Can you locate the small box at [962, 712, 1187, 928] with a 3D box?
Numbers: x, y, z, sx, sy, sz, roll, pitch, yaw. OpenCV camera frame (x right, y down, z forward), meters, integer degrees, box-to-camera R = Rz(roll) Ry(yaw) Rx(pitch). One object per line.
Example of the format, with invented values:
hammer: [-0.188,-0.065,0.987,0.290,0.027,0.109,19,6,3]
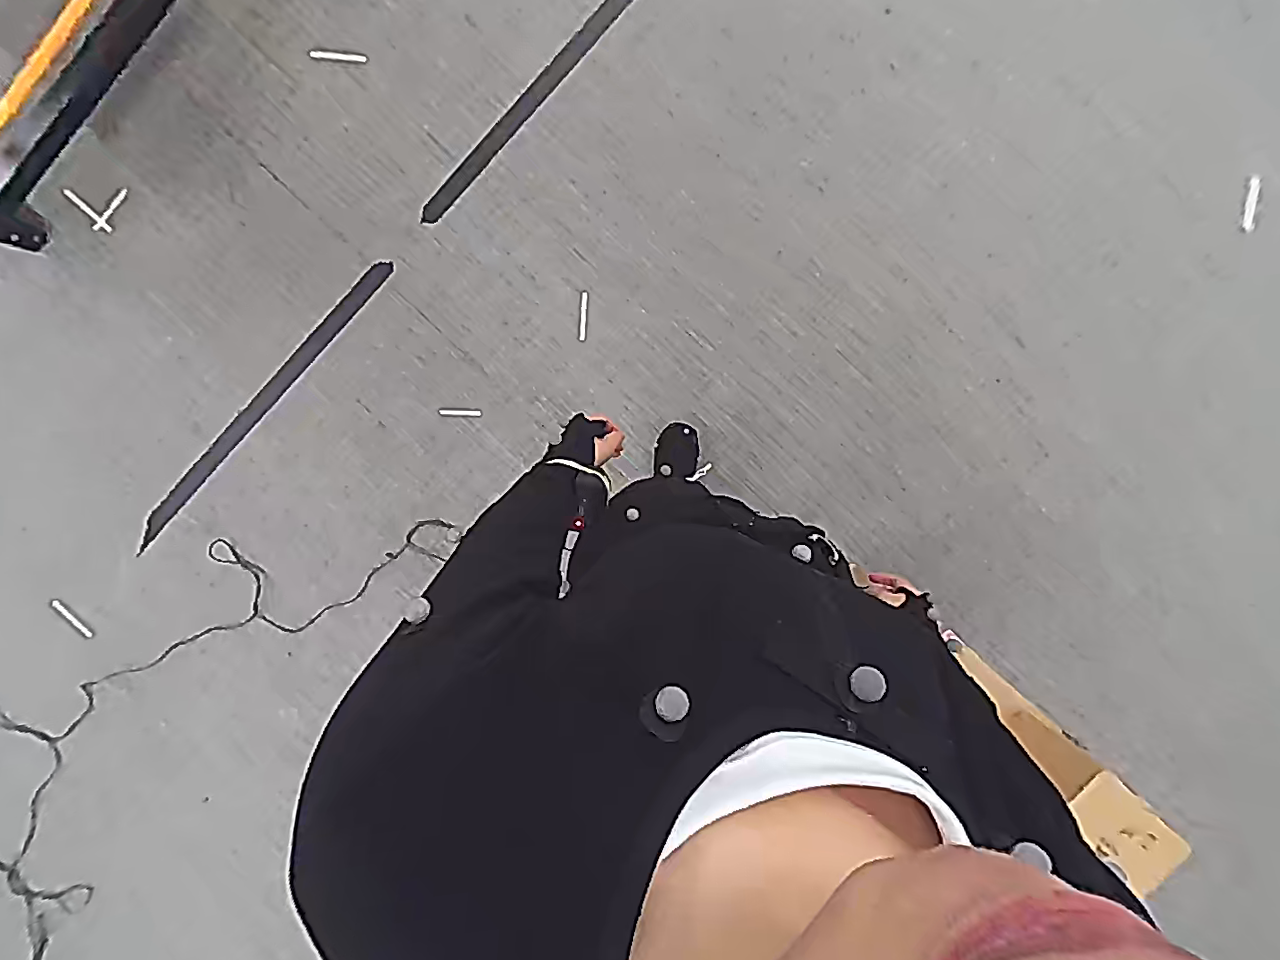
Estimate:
small box: [0.632,0.499,0.819,0.168,0.176,0.179,44,93,-1]
